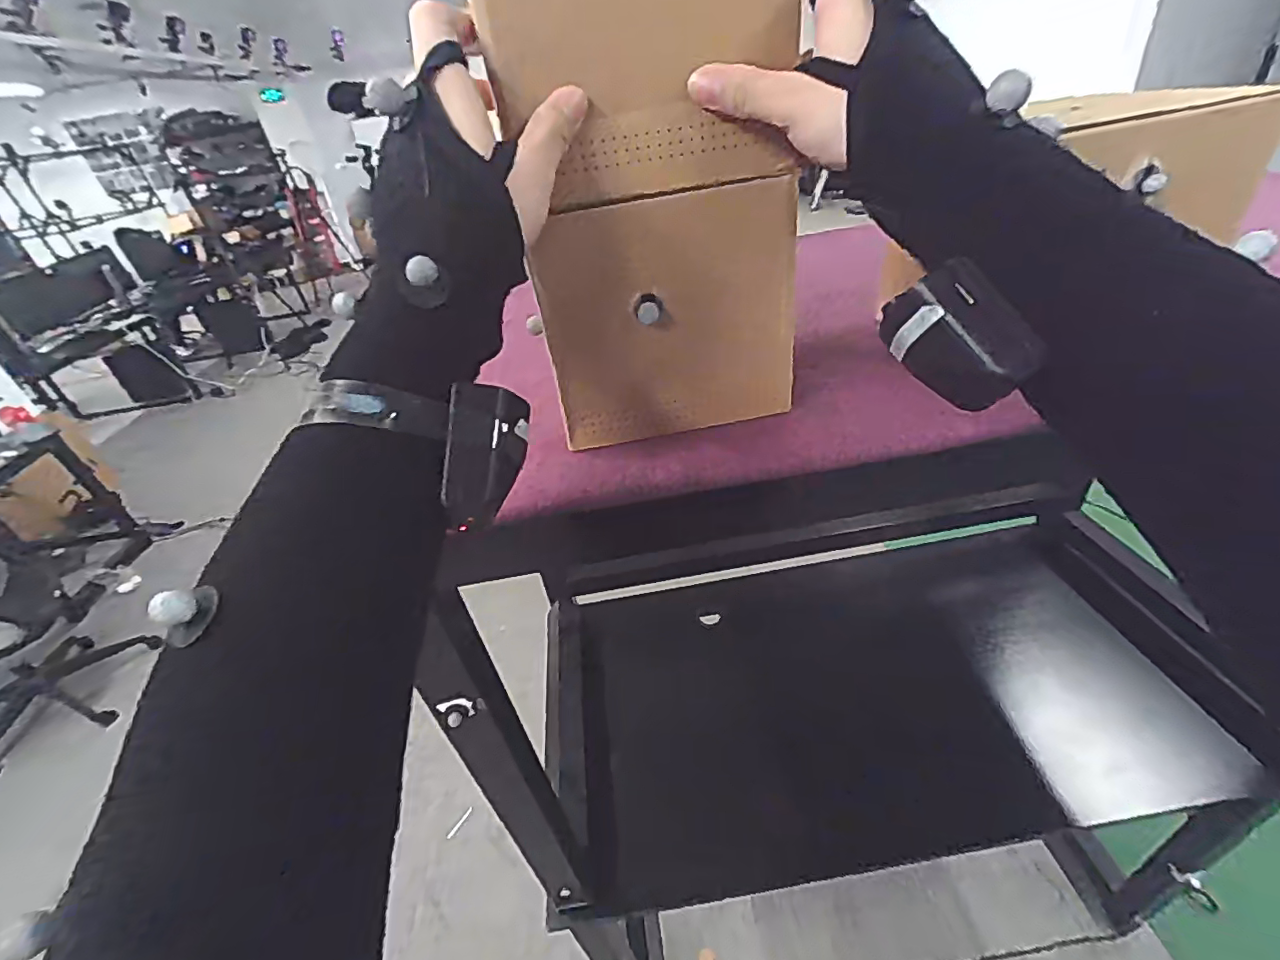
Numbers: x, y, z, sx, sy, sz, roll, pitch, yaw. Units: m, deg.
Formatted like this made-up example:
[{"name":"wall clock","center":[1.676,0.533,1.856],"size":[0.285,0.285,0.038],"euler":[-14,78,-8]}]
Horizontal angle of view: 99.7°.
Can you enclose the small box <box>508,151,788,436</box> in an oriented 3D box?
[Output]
[{"name":"small box","center":[0.009,-0.151,0.430],"size":[0.179,0.176,0.168],"euler":[-12,34,-2]}]

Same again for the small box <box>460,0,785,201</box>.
[{"name":"small box","center":[-0.016,-0.284,0.341],"size":[0.179,0.176,0.168],"euler":[-11,34,-3]}]

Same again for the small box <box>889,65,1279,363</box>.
[{"name":"small box","center":[0.320,-0.207,0.433],"size":[0.179,0.176,0.168],"euler":[-11,34,-1]}]
